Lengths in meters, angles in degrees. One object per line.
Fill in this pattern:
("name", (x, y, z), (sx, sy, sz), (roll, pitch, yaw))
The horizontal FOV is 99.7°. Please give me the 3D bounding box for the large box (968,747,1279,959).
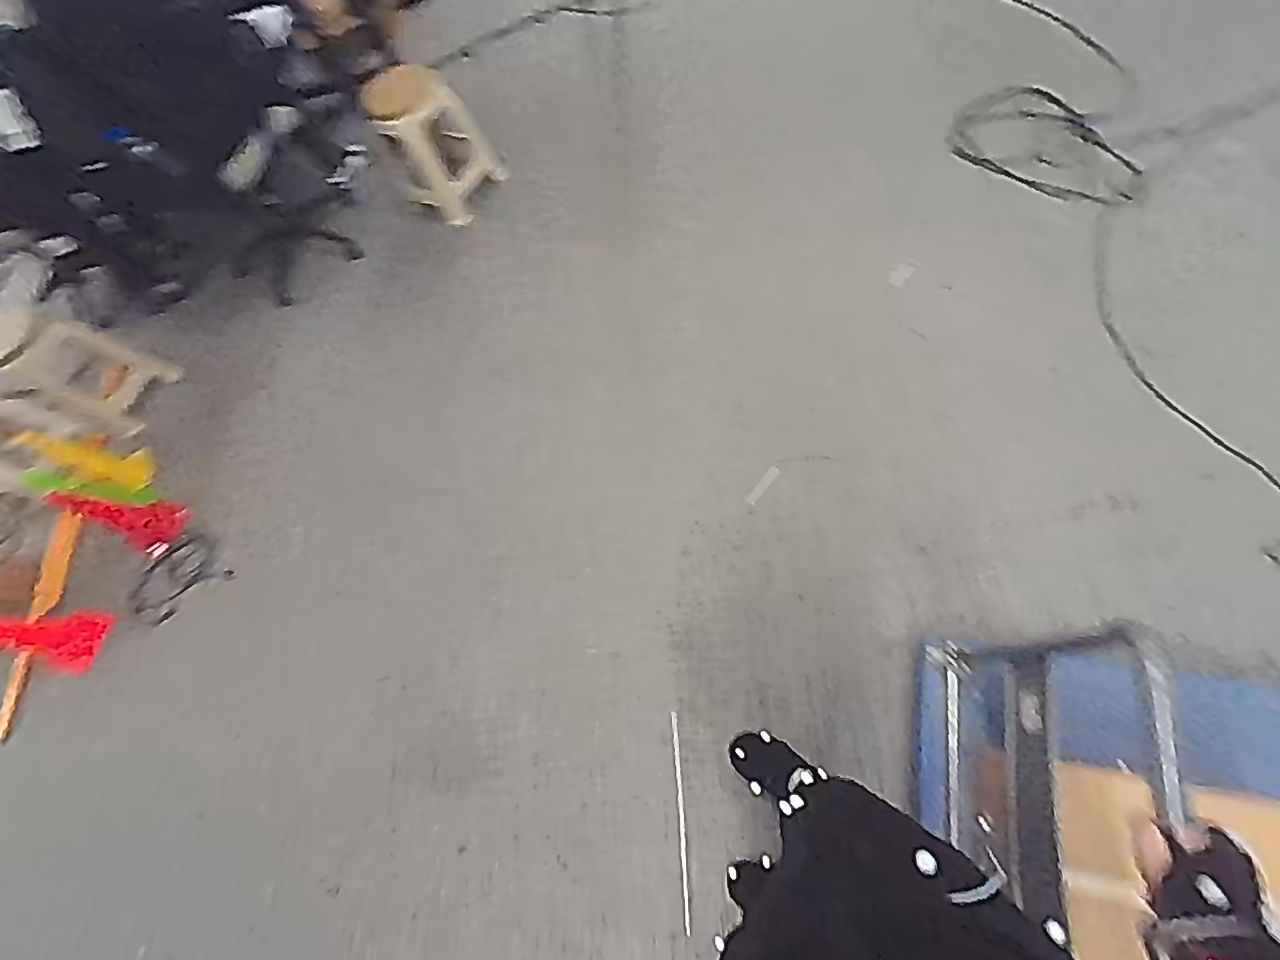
("large box", (0.837, 0.661, 0.916), (0.408, 0.320, 0.320), (5, 70, 14))
